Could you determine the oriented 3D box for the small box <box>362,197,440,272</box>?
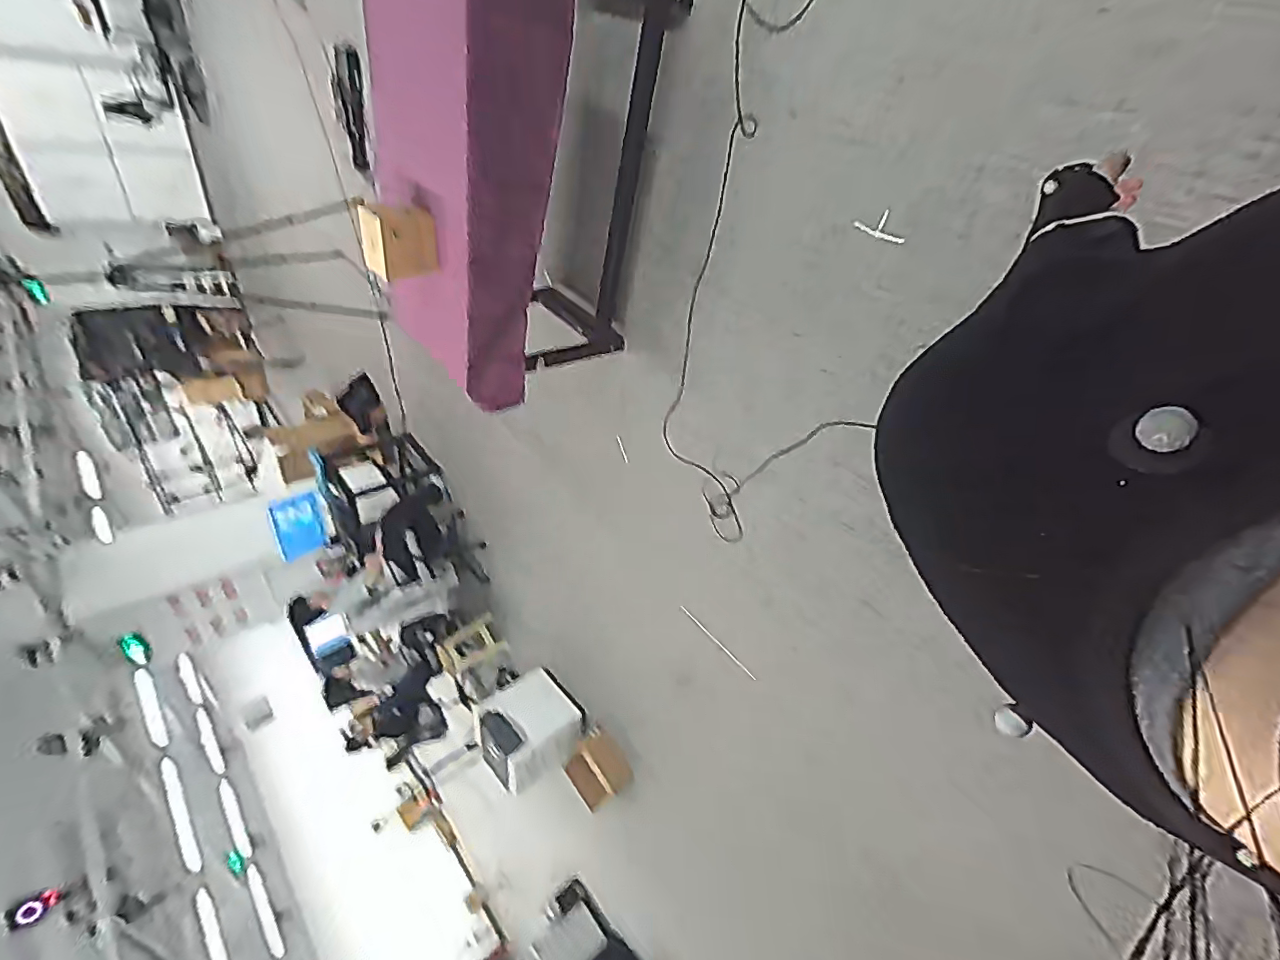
[{"bbox_3d":[-0.739,-0.768,1.688,0.168,0.176,0.179,39,134,32],"label":"small box"}]
